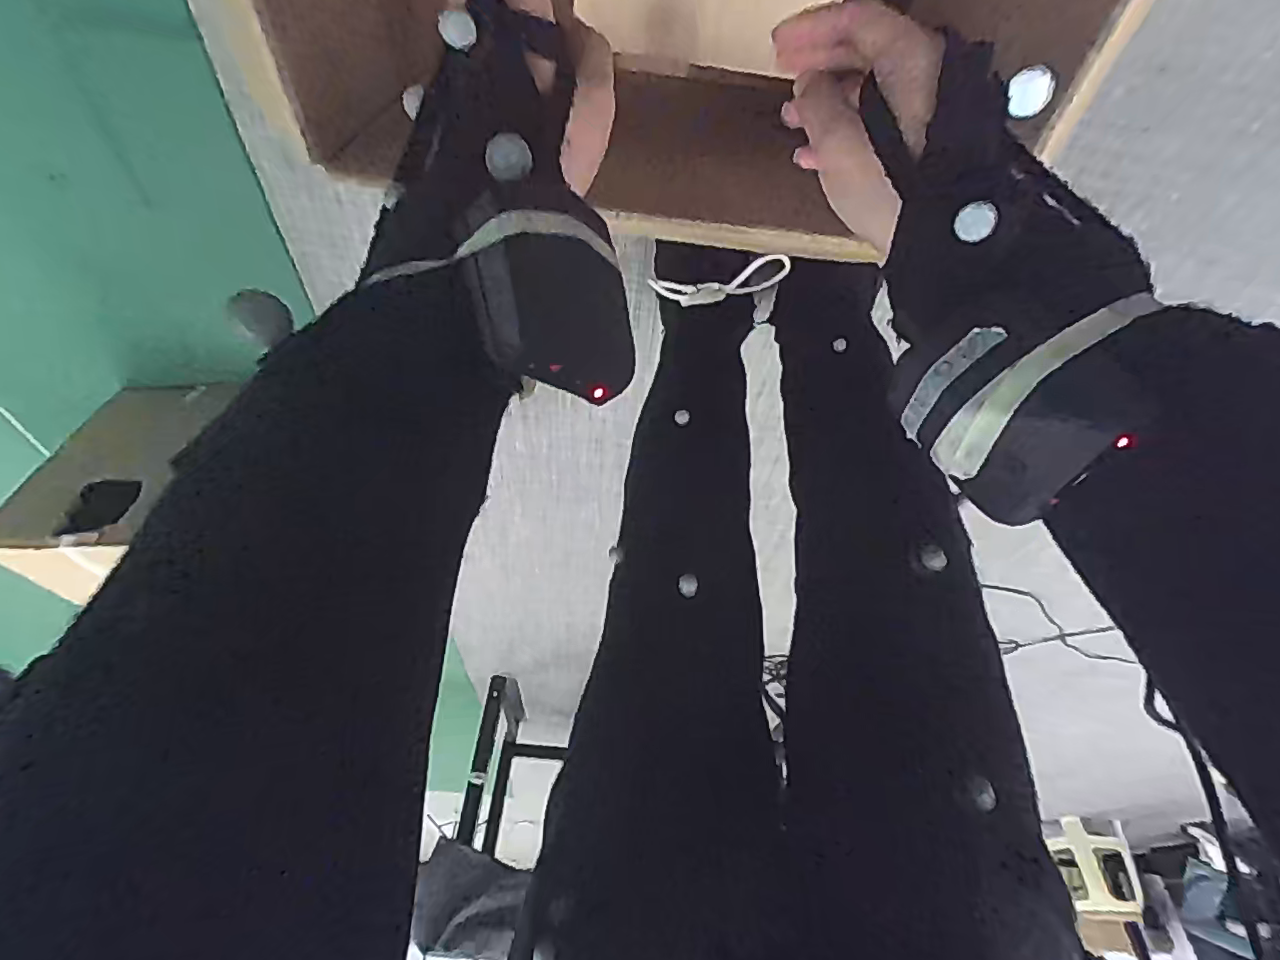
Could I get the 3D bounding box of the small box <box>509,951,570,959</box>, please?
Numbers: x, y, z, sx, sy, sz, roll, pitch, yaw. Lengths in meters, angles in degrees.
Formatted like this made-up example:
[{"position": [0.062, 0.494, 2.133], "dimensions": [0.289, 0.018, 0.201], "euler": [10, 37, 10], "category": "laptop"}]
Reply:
[{"position": [-0.285, 1.423, 1.491], "dimensions": [0.179, 0.176, 0.168], "euler": [8, 141, -4], "category": "small box"}]
